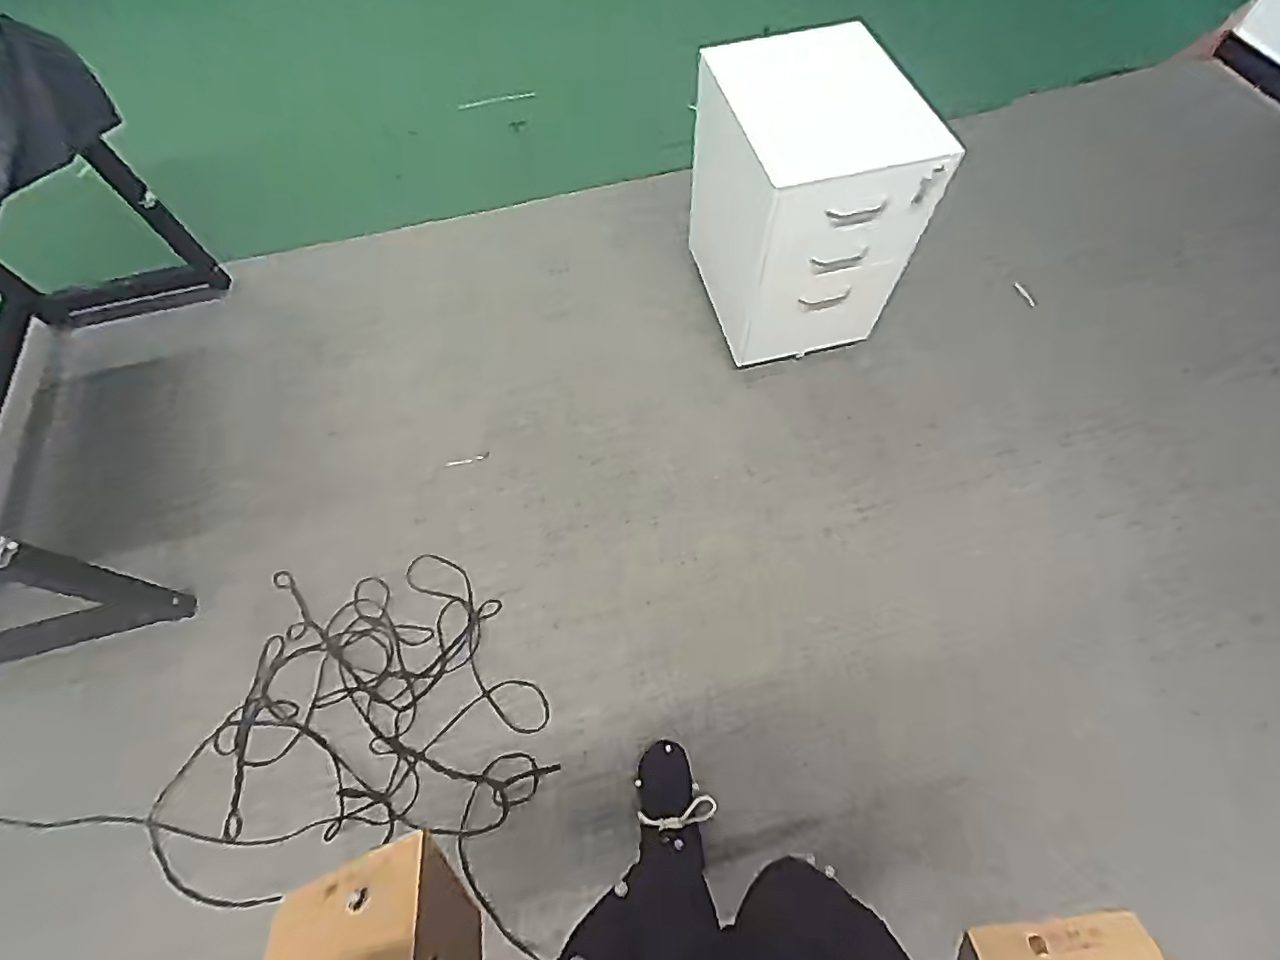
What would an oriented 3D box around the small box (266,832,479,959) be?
[{"bbox_3d":[-0.281,0.536,0.586,0.168,0.179,0.176,-22,22,-9],"label":"small box"}]
